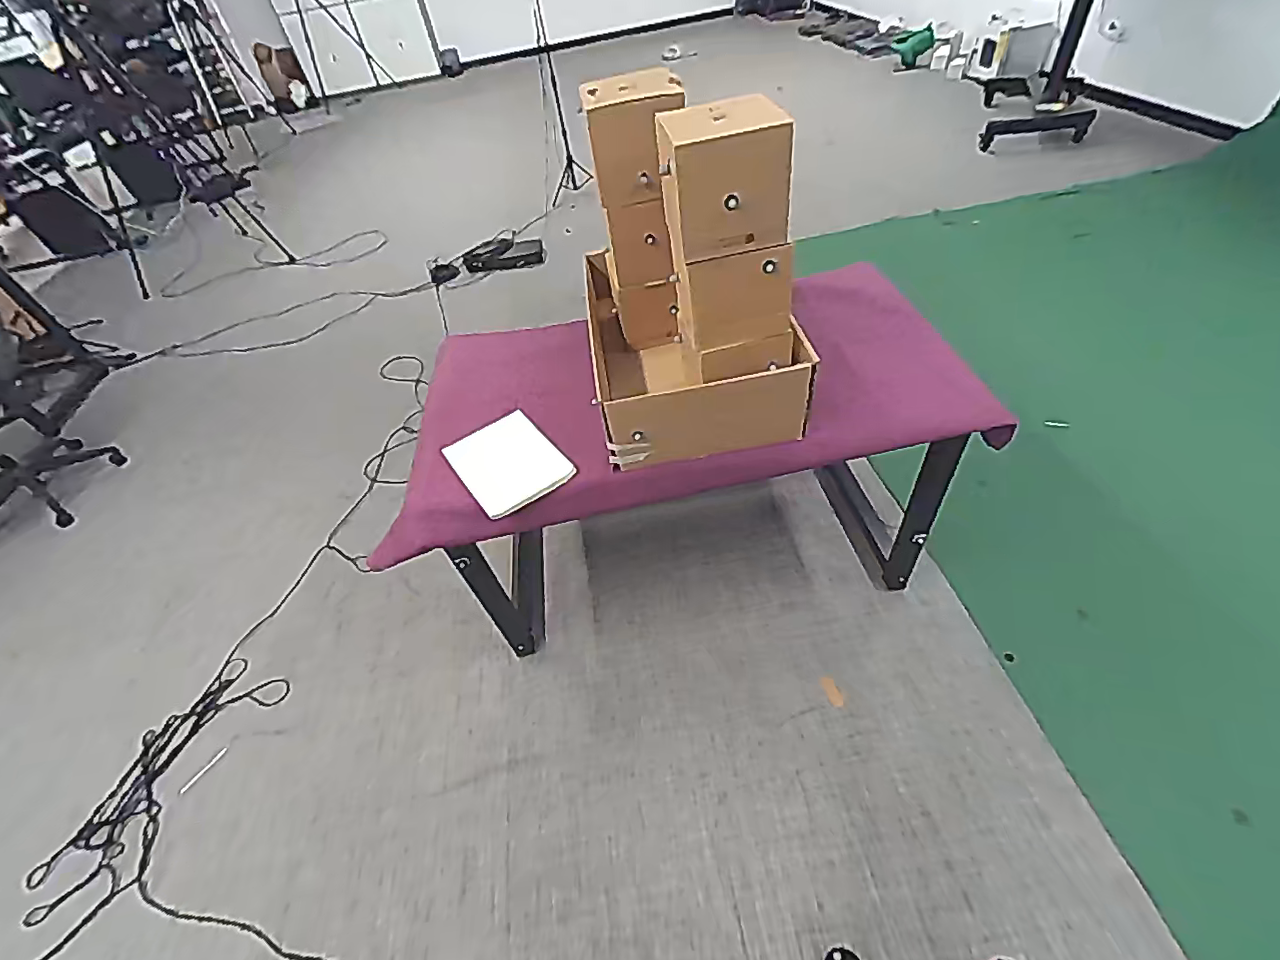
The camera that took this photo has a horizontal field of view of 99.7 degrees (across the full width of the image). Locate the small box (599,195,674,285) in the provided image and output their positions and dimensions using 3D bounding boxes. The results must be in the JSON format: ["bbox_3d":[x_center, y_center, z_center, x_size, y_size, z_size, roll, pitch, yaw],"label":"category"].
[{"bbox_3d":[0.012,-0.543,1.153,0.179,0.176,0.168,-13,48,-1],"label":"small box"}]

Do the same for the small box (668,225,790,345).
[{"bbox_3d":[0.155,-0.358,0.956,0.179,0.176,0.168,-10,46,1],"label":"small box"}]

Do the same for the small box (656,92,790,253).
[{"bbox_3d":[0.125,-0.469,0.837,0.168,0.176,0.179,-11,46,0],"label":"small box"}]

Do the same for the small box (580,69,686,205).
[{"bbox_3d":[-0.011,-0.653,1.033,0.179,0.176,0.168,-10,48,-1],"label":"small box"}]
